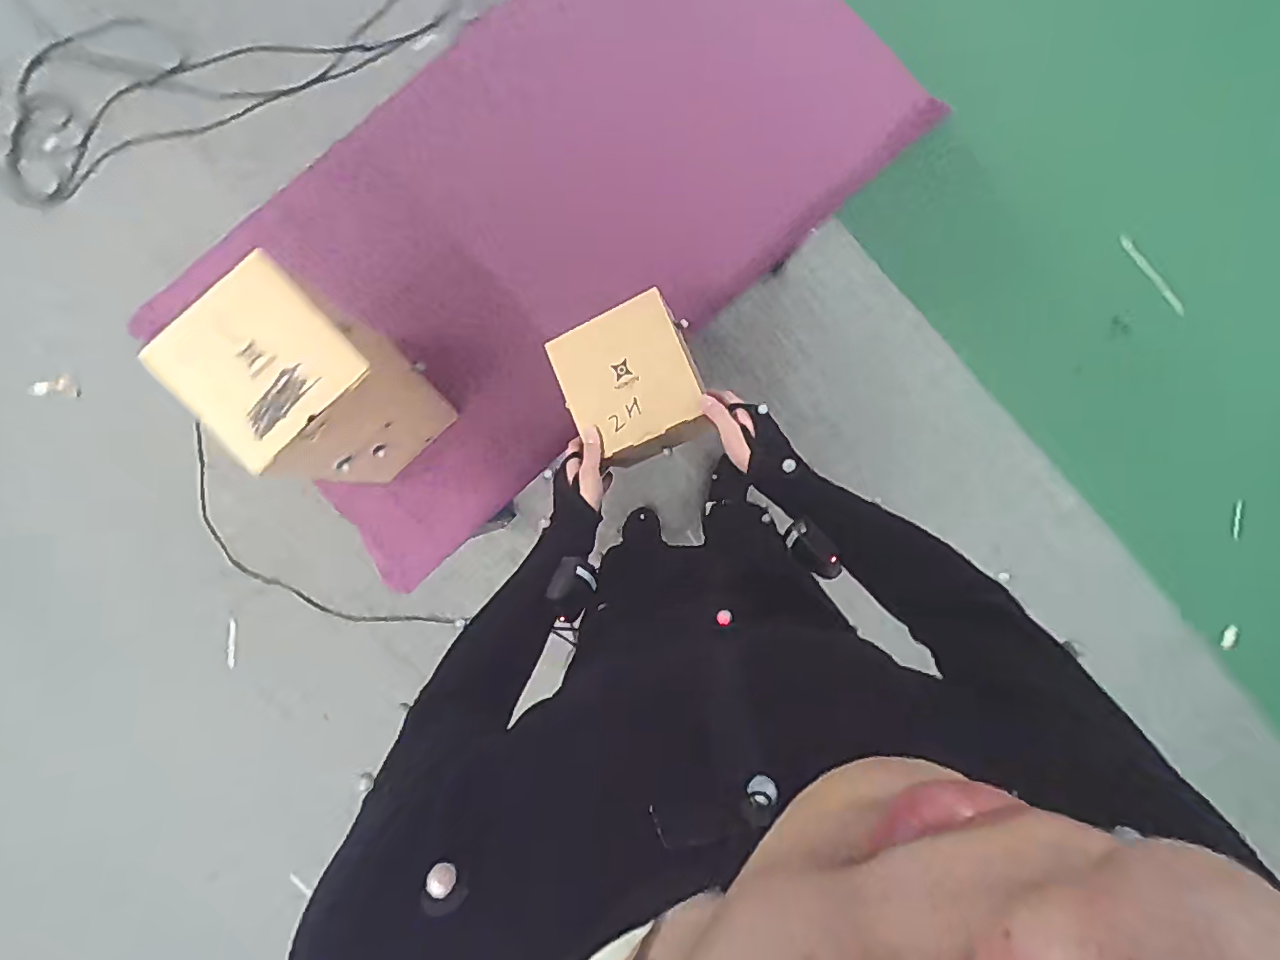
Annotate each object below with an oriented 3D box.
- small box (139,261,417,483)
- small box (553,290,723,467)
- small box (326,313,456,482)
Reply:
[{"bbox_3d":[-0.404,-0.113,0.642,0.168,0.176,0.179,-44,90,-3],"label":"small box"},{"bbox_3d":[0.006,-0.128,0.758,0.168,0.176,0.179,-22,83,13],"label":"small box"},{"bbox_3d":[-0.411,-0.108,0.807,0.168,0.176,0.179,-44,90,-2],"label":"small box"}]
